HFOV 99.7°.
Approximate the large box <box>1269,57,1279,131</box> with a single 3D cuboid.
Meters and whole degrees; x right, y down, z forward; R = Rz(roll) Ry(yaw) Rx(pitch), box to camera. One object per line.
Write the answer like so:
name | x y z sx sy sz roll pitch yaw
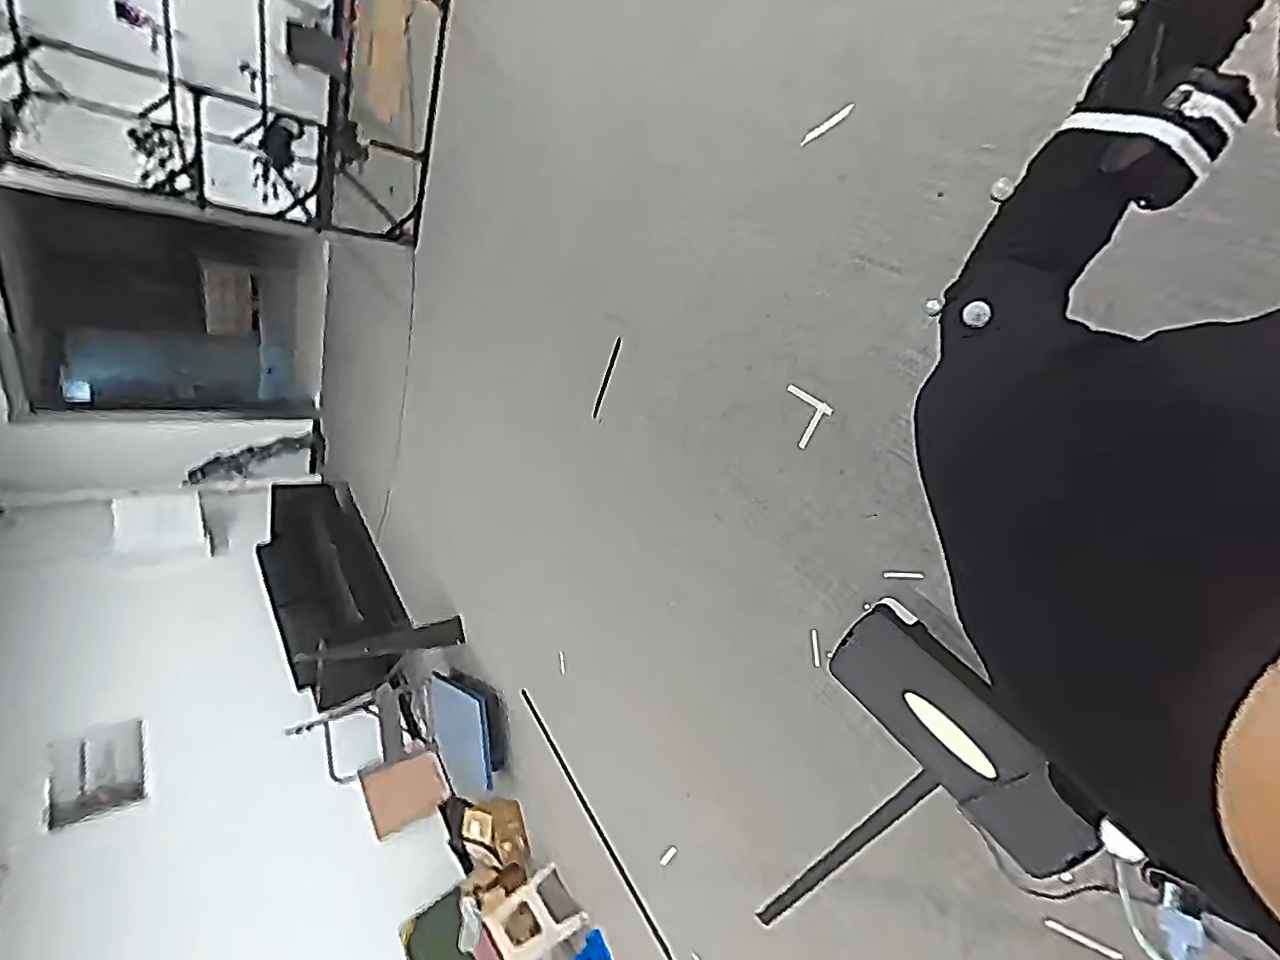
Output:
large box | 0.642 -0.363 0.233 0.408 0.320 0.320 31 124 39
